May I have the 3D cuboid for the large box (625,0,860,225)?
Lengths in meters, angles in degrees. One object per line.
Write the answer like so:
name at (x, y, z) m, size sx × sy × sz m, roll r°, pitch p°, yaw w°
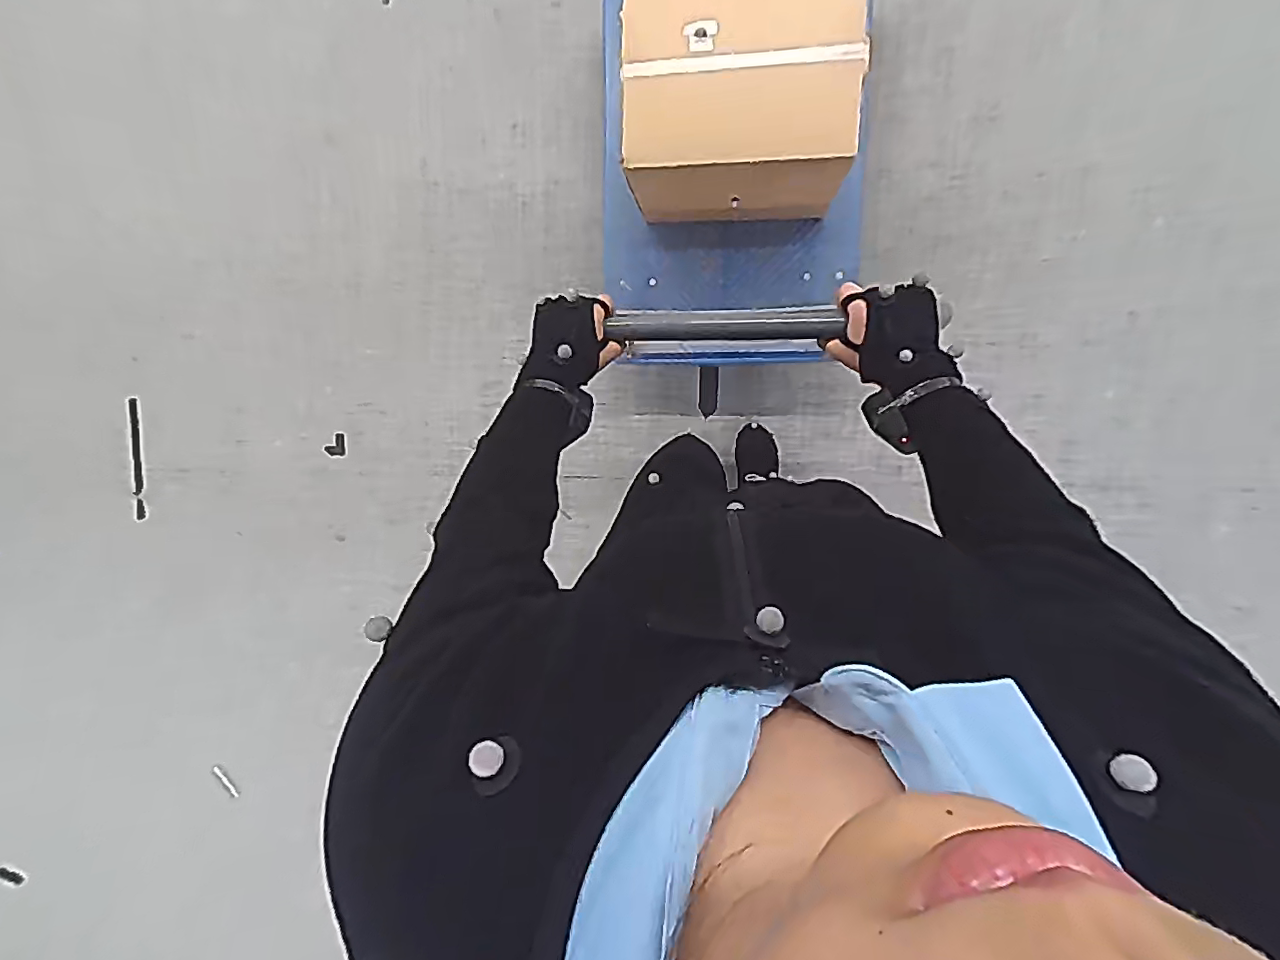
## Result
large box at (0.197, -0.726, 1.084) m, size 0.408 × 0.320 × 0.320 m, roll 2°, pitch 97°, yaw 10°
